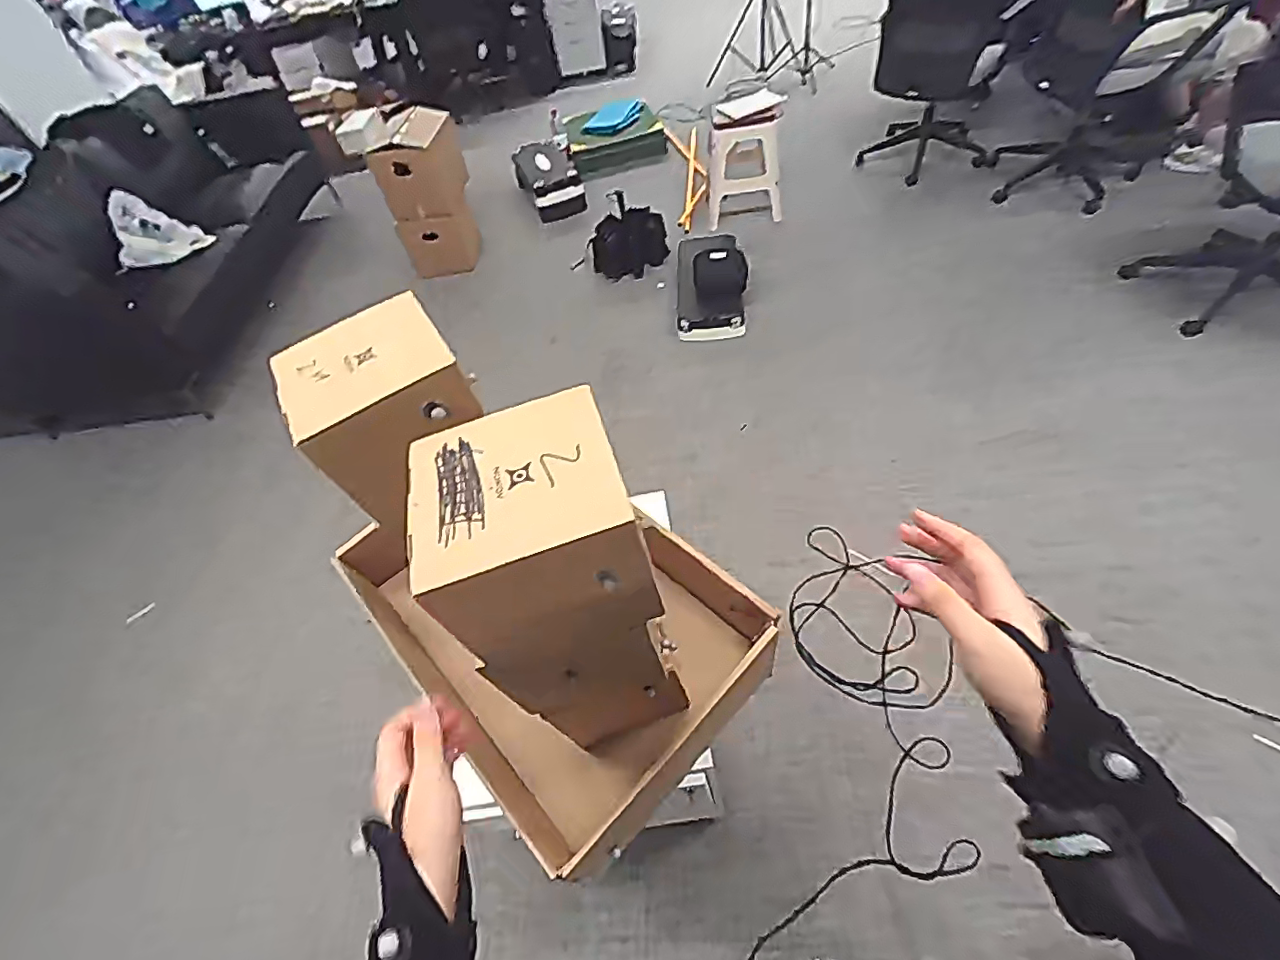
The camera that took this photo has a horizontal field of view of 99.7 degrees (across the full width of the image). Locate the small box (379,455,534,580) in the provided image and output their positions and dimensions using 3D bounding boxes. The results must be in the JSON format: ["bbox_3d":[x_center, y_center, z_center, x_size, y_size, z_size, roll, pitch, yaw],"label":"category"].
[{"bbox_3d":[-0.276,0.015,0.797,0.168,0.176,0.179,-30,55,-9],"label":"small box"}]

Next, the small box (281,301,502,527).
[{"bbox_3d":[-0.288,-0.077,0.659,0.179,0.176,0.168,-32,54,-11],"label":"small box"}]

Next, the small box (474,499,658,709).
[{"bbox_3d":[-0.081,0.153,0.648,0.179,0.176,0.168,-16,50,2],"label":"small box"}]
